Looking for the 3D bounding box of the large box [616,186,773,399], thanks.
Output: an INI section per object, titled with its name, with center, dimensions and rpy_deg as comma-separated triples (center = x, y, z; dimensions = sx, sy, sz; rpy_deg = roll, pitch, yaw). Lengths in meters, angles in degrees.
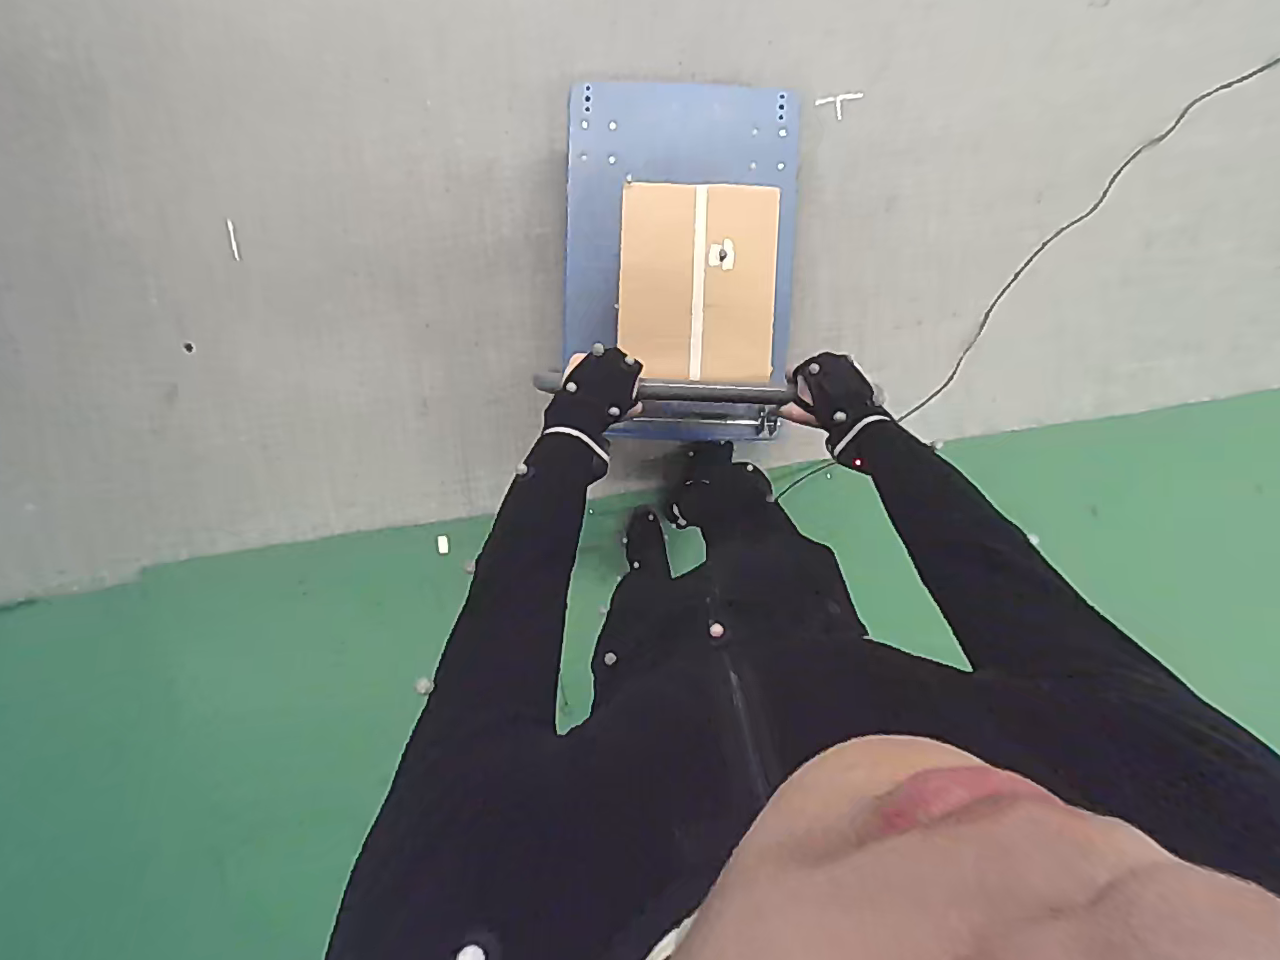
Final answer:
[large box]
center = 0.112, -0.398, 1.242
dimensions = 0.320, 0.320, 0.408
rpy_deg = 2, 94, 0
